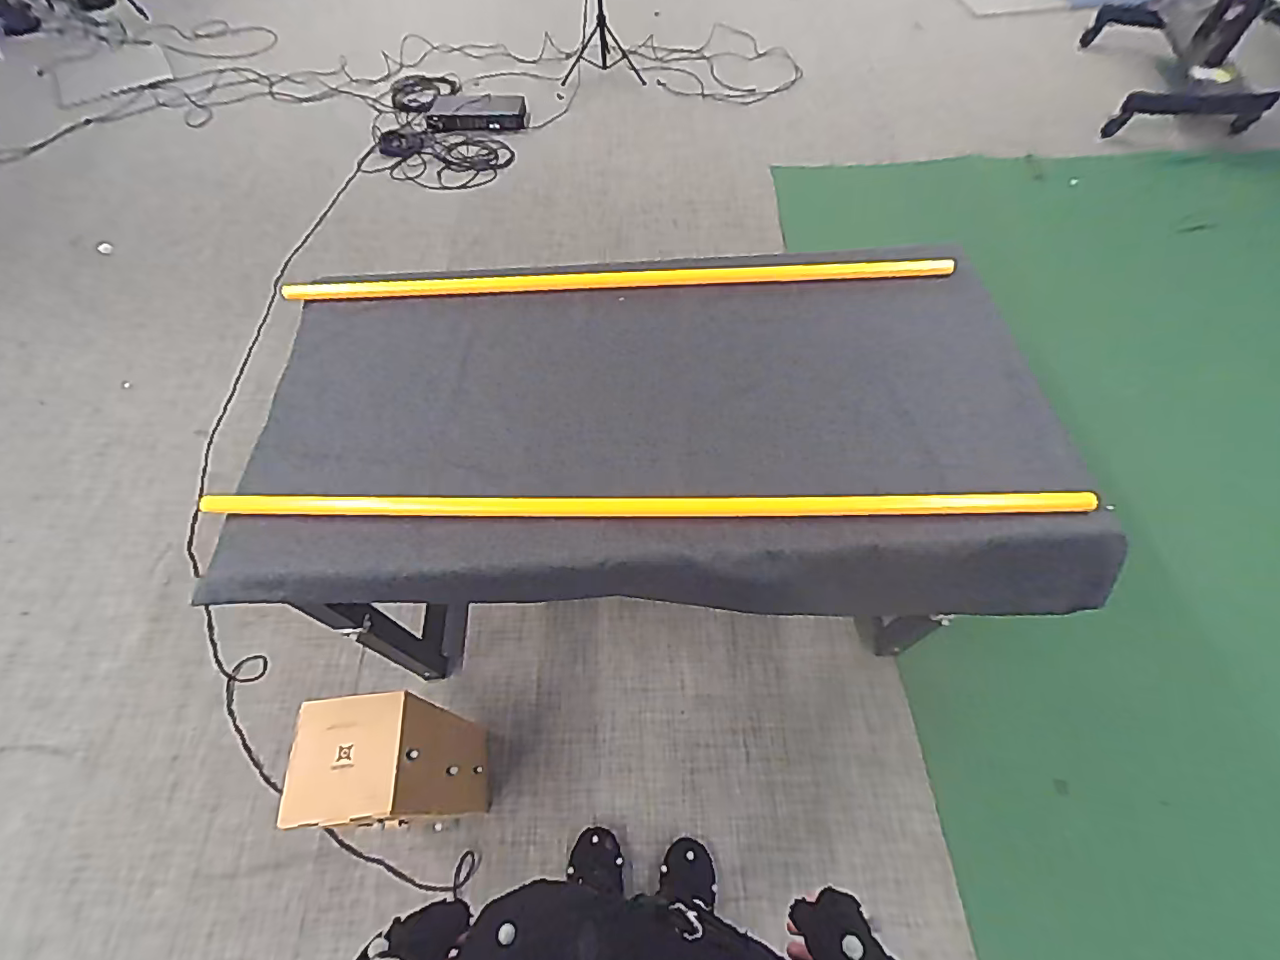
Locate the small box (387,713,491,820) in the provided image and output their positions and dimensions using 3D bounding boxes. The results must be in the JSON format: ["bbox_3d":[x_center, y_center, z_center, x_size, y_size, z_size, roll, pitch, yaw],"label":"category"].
[{"bbox_3d":[-0.426,0.622,1.172,0.168,0.176,0.179,-9,60,-3],"label":"small box"}]
